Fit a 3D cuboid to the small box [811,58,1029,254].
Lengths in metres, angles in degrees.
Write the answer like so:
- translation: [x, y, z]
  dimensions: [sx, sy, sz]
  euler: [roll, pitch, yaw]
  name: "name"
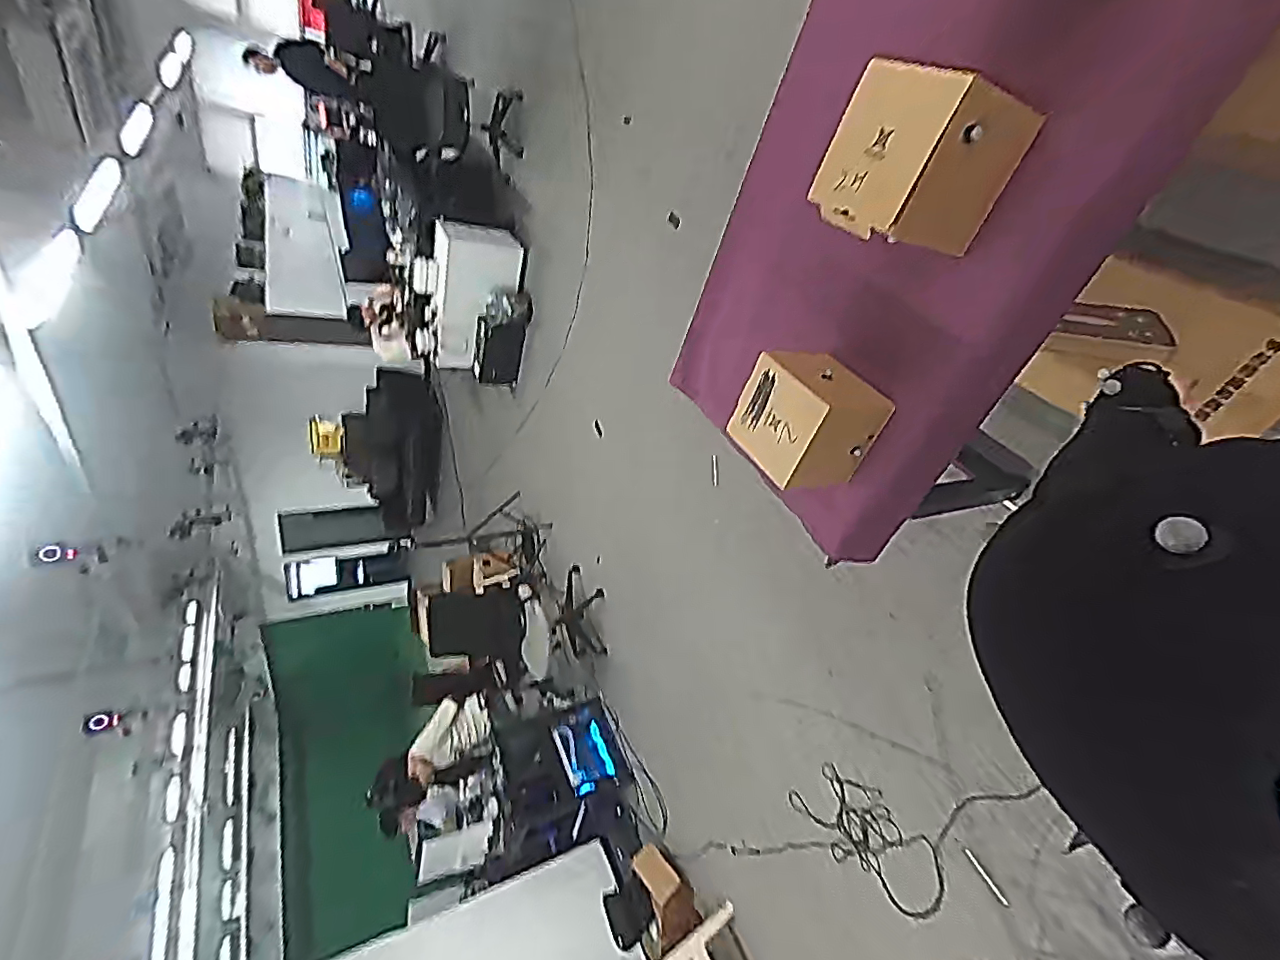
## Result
- translation: [0.377, -0.430, 0.732]
  dimensions: [0.168, 0.176, 0.179]
  euler: [57, 139, 42]
  name: "small box"
